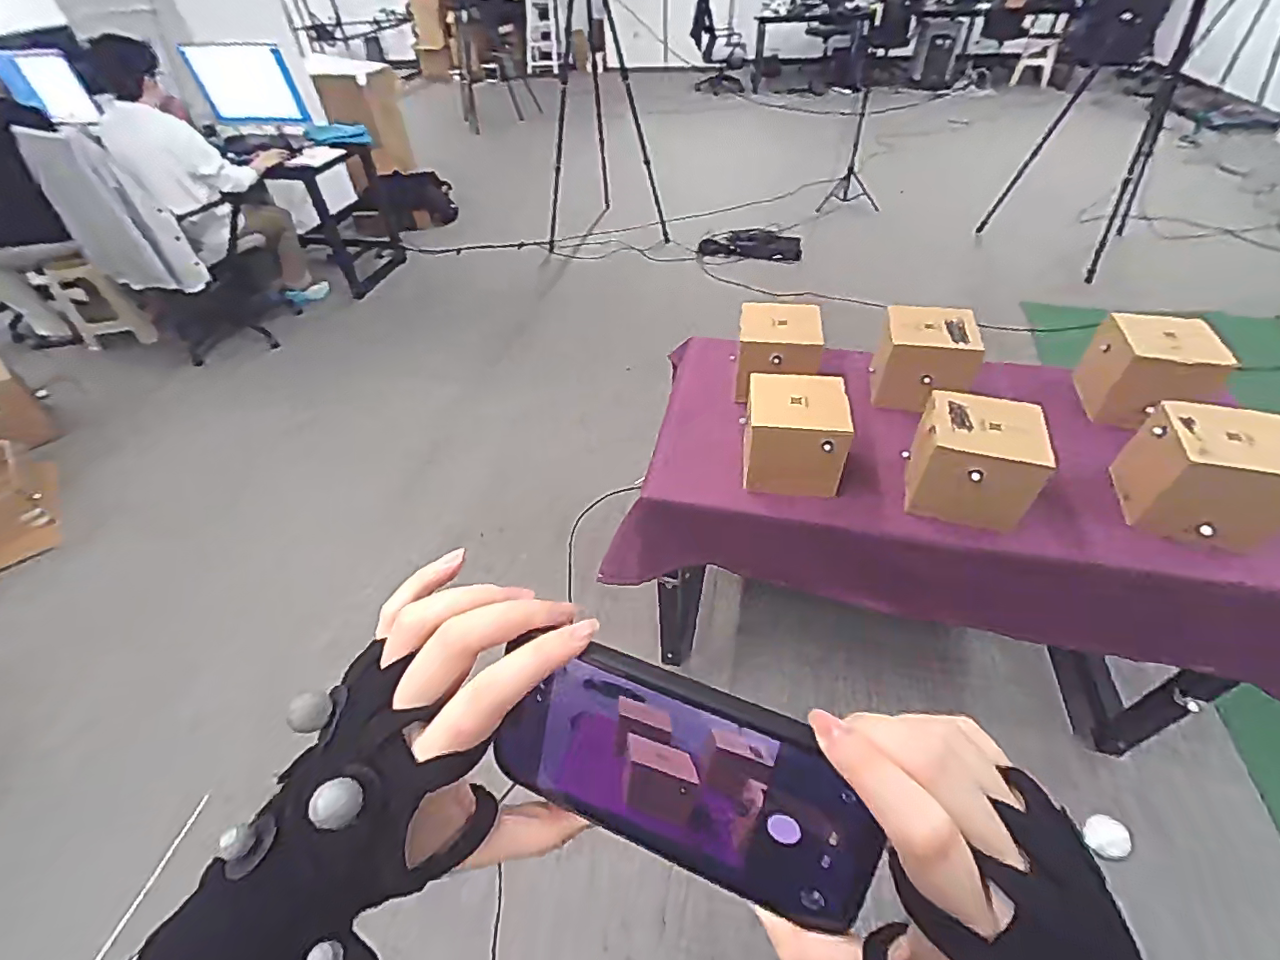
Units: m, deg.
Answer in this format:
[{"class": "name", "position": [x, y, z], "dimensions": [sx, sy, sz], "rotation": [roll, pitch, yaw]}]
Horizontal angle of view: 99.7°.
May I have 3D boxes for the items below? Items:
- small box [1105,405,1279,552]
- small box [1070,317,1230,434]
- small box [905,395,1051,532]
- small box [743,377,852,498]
[{"class": "small box", "position": [0.961, 0.000, 0.929], "dimensions": [0.179, 0.176, 0.168], "rotation": [14, 47, 16]}, {"class": "small box", "position": [1.051, -0.217, 1.138], "dimensions": [0.168, 0.176, 0.179], "rotation": [10, 48, 14]}, {"class": "small box", "position": [0.594, -0.028, 0.978], "dimensions": [0.179, 0.176, 0.168], "rotation": [13, 47, 15]}, {"class": "small box", "position": [0.294, -0.082, 1.049], "dimensions": [0.179, 0.176, 0.168], "rotation": [5, 45, 6]}]
